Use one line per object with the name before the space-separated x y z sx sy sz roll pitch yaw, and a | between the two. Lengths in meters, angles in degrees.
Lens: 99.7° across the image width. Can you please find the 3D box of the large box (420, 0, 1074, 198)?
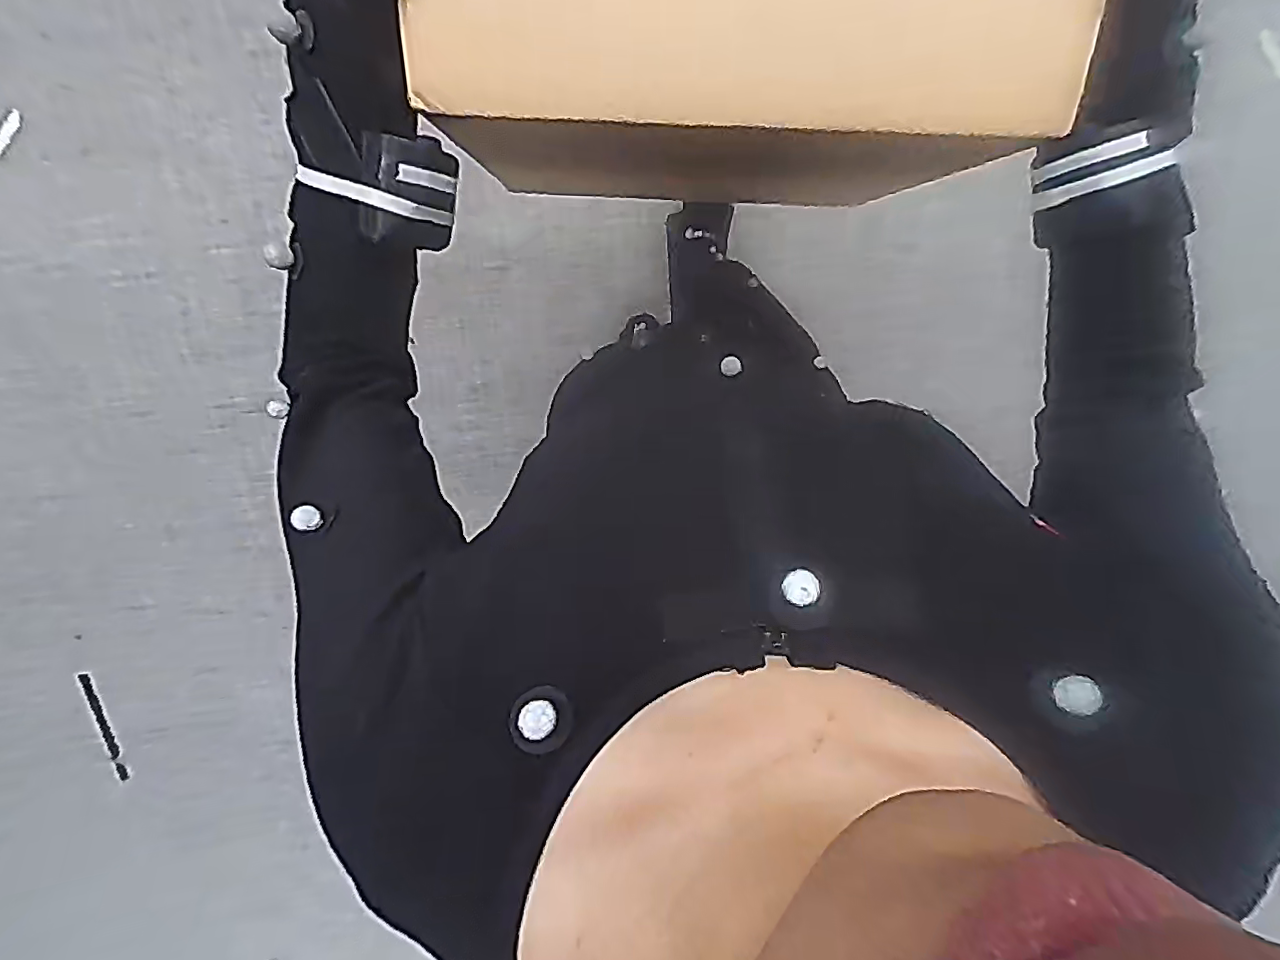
large box | 0.060 -0.424 0.434 0.408 0.320 0.320 0 109 -3
